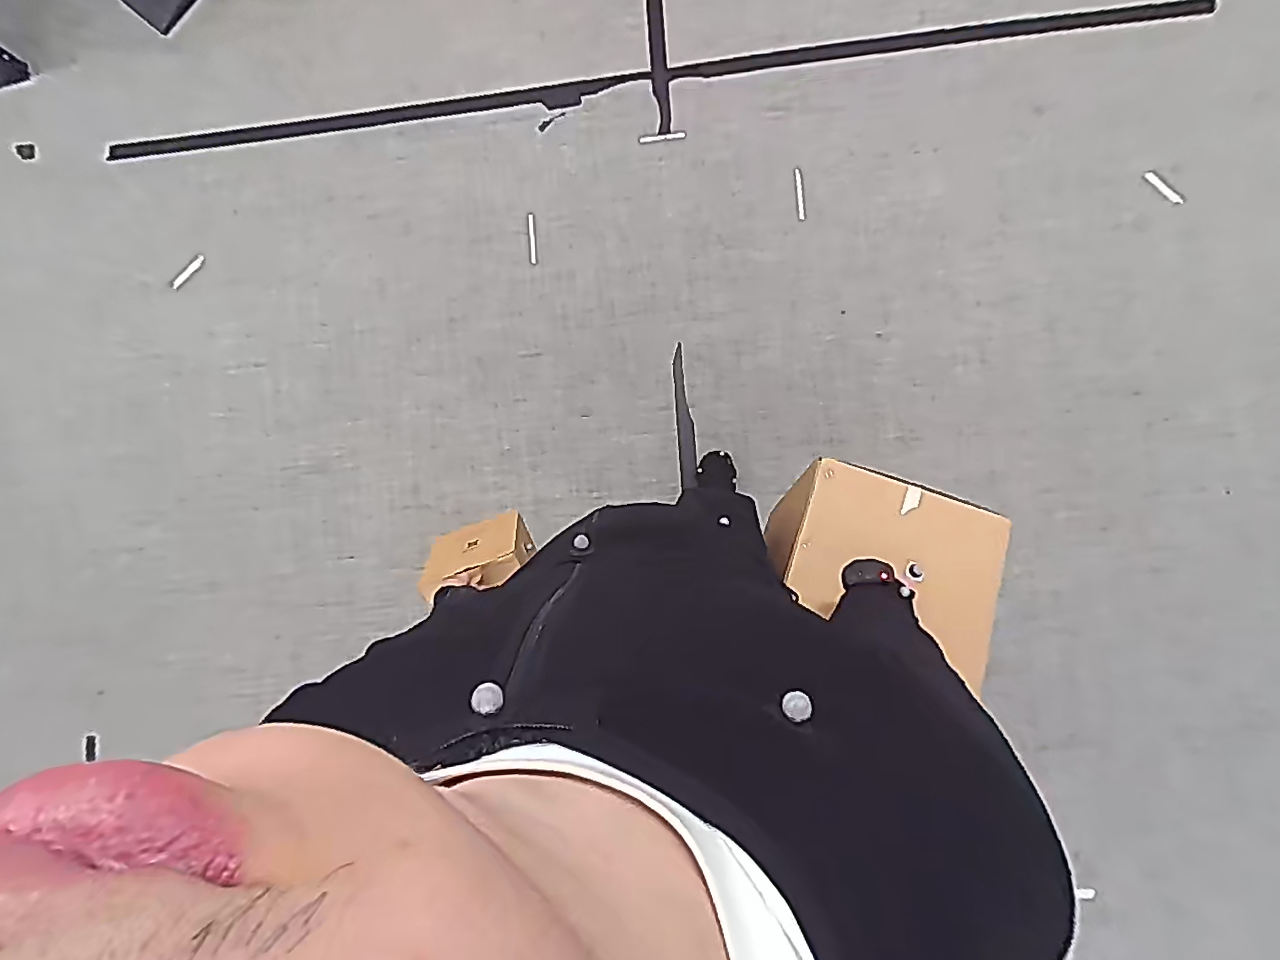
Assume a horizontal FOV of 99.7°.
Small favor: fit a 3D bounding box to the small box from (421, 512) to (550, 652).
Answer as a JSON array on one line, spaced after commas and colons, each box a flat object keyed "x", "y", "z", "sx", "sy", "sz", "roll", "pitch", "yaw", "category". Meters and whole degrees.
[{"x": -0.270, "y": 0.190, "z": 0.991, "sx": 0.168, "sy": 0.179, "sz": 0.176, "roll": -19, "pitch": 113, "yaw": -2, "category": "small box"}]
